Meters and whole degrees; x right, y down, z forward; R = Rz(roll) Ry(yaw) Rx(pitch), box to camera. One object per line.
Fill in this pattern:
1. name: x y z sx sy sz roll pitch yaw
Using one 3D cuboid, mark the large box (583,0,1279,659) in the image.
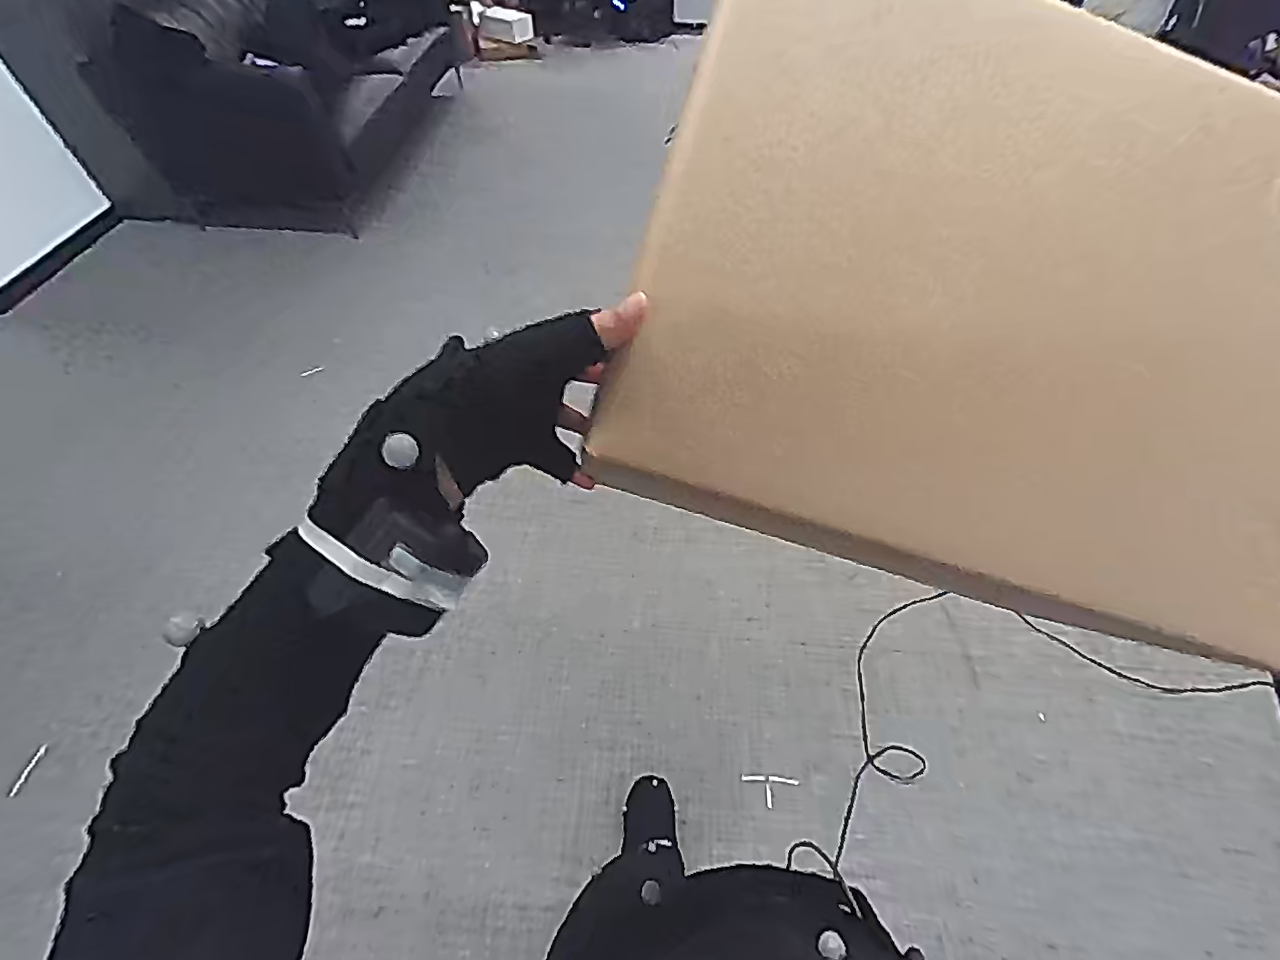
1. large box: 0.188 -0.092 0.444 0.408 0.320 0.320 18 85 -4
